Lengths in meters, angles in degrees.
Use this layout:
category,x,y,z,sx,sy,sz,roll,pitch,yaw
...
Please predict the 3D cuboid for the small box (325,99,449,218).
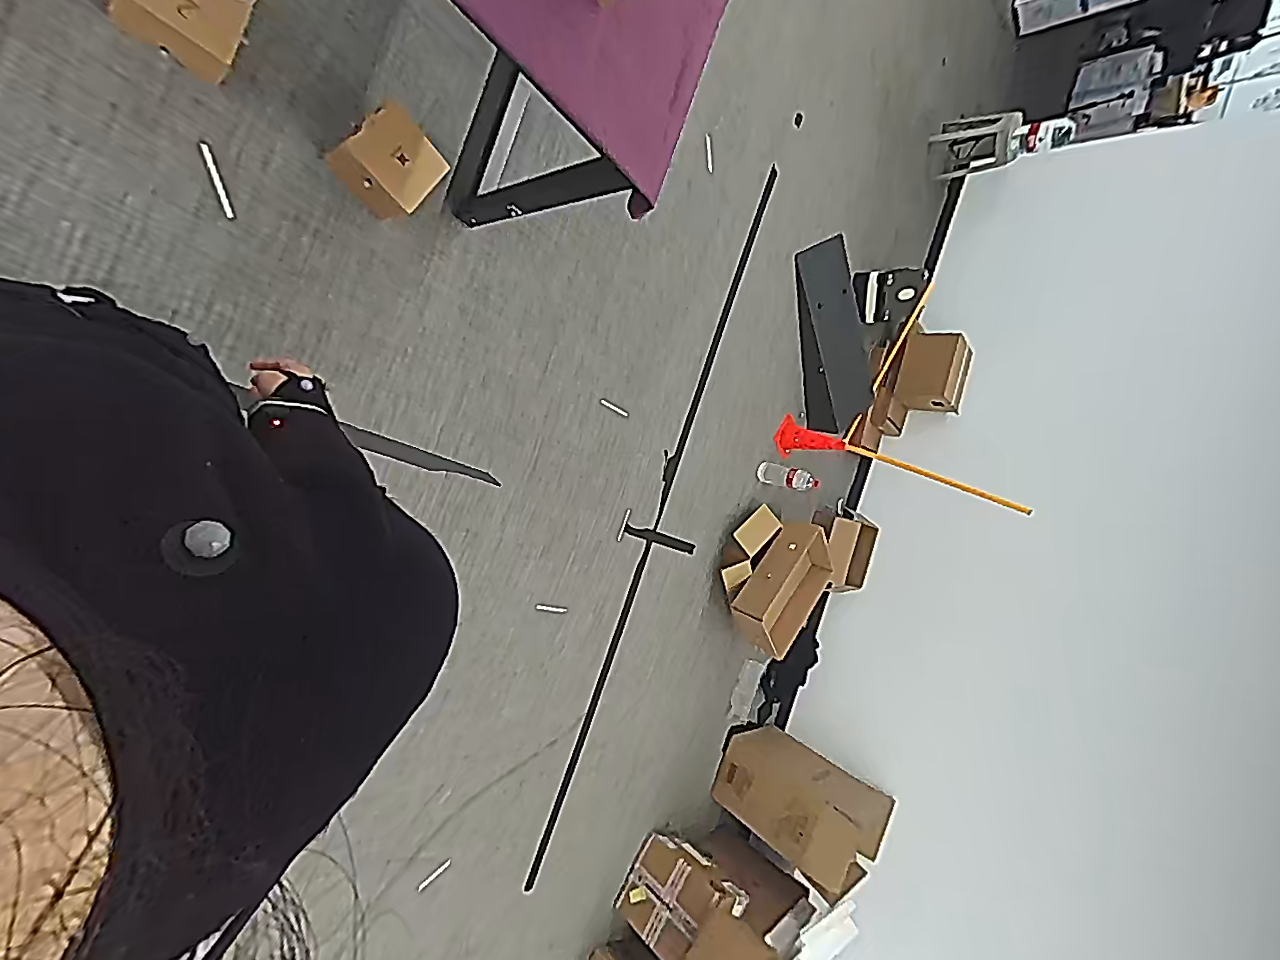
category,x,y,z,sx,sy,sz,roll,pitch,yaw
small box,-0.598,-0.745,1.277,0.179,0.176,0.168,46,70,-42
